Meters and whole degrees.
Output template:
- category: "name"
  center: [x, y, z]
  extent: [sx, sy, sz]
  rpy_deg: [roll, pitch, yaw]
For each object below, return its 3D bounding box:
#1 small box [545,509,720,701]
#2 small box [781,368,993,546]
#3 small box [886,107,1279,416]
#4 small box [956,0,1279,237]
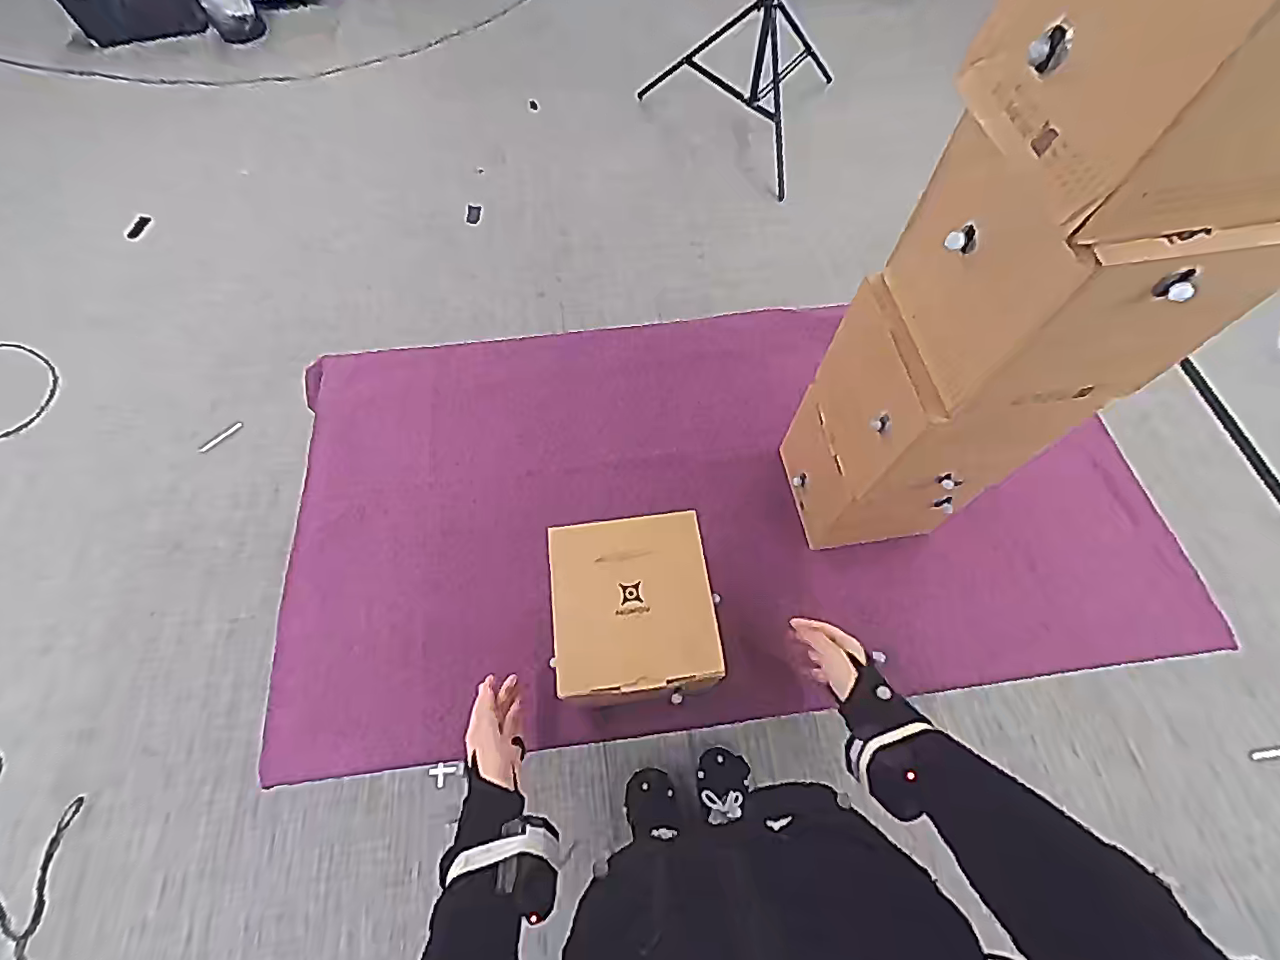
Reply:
- category: "small box"
  center: [-0.012, 0.154, 0.629]
  extent: [0.168, 0.176, 0.179]
  rpy_deg: [-8, 63, -4]
- category: "small box"
  center: [0.306, -0.025, 0.714]
  extent: [0.179, 0.176, 0.168]
  rpy_deg: [-8, 63, -3]
- category: "small box"
  center: [0.324, -0.174, 0.422]
  extent: [0.168, 0.176, 0.179]
  rpy_deg: [-8, 64, -3]
- category: "small box"
  center: [0.314, -0.256, 0.281]
  extent: [0.179, 0.176, 0.168]
  rpy_deg: [-9, 64, -4]
